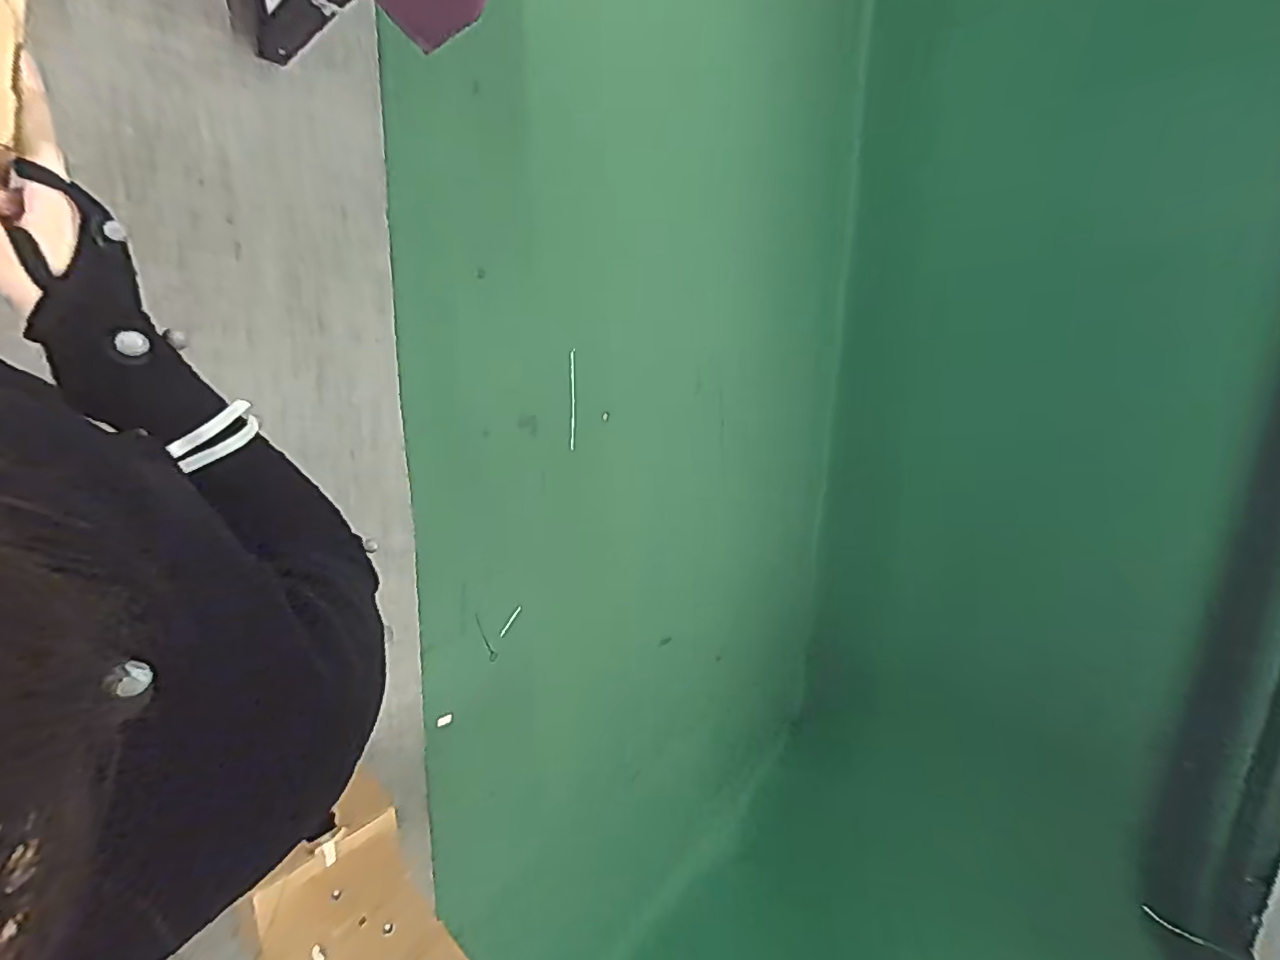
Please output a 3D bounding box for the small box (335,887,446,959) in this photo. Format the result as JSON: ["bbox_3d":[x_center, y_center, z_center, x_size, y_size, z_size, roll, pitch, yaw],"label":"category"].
[{"bbox_3d":[-0.526,1.026,1.157,0.168,0.176,0.179,-22,117,-45],"label":"small box"}]

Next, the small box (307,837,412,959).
[{"bbox_3d":[-0.650,0.993,1.258,0.179,0.176,0.168,-17,113,-48],"label":"small box"}]

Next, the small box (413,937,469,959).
[{"bbox_3d":[-0.402,1.053,1.052,0.168,0.176,0.179,-19,114,-46],"label":"small box"}]

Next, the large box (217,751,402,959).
[{"bbox_3d":[-0.847,1.023,1.416,0.320,0.320,0.408,-15,112,-48],"label":"large box"}]
